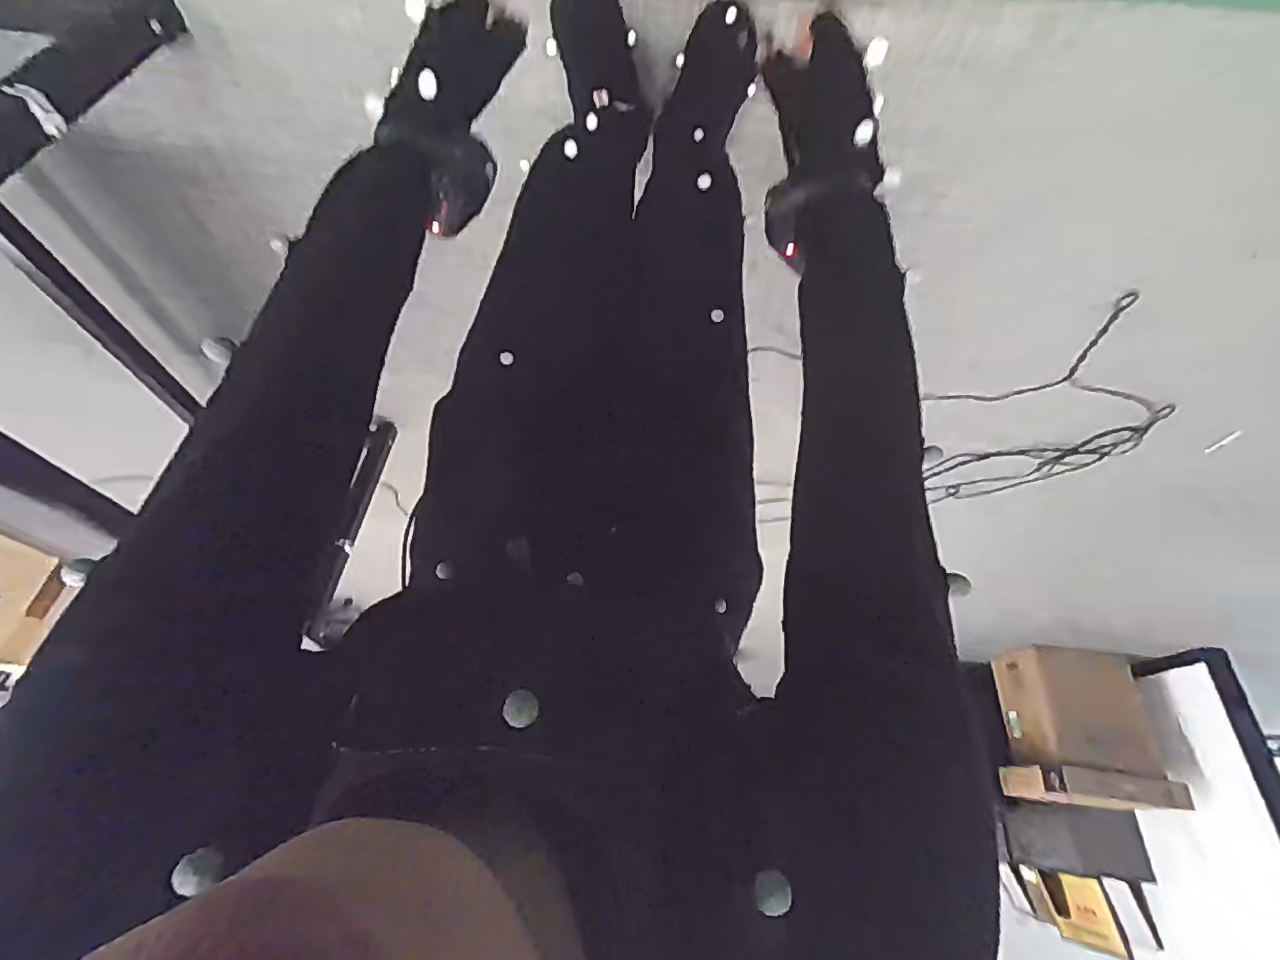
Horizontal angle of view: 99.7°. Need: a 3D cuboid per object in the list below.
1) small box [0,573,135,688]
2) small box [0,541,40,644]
[{"bbox_3d":[-1.114,0.272,0.999,0.179,0.176,0.168,5,150,3],"label":"small box"},{"bbox_3d":[-1.081,0.159,0.808,0.179,0.176,0.168,6,149,2],"label":"small box"}]
